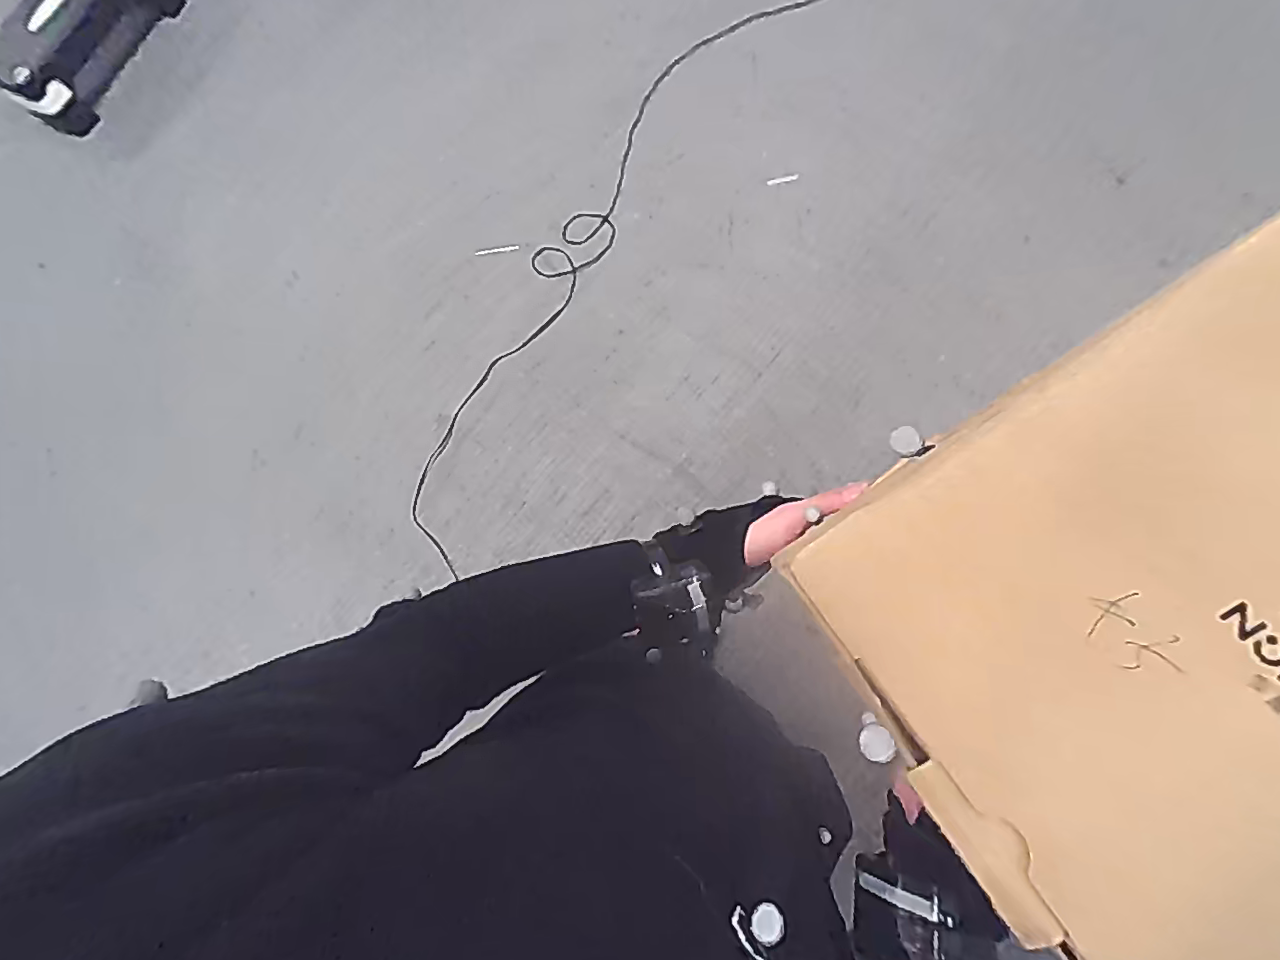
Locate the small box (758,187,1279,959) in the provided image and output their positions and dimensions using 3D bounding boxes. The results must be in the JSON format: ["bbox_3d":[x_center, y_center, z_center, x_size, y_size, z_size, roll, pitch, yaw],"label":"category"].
[{"bbox_3d":[0.165,0.045,0.196,0.179,0.176,0.168,-37,76,7],"label":"small box"}]
